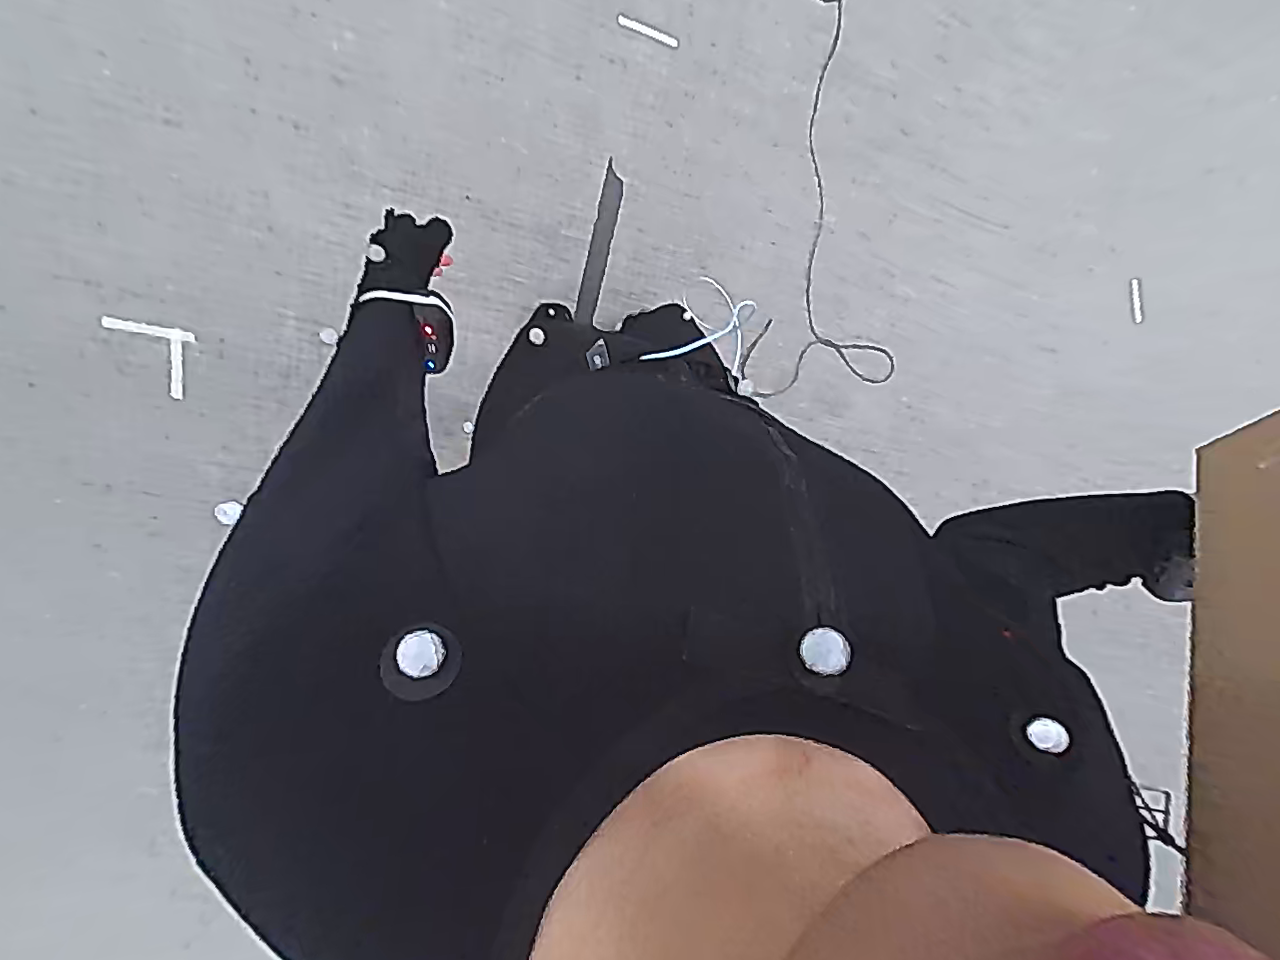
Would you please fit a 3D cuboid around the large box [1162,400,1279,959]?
[{"bbox_3d":[0.453,0.096,0.155,0.320,0.320,0.408,48,53,6],"label":"large box"}]
